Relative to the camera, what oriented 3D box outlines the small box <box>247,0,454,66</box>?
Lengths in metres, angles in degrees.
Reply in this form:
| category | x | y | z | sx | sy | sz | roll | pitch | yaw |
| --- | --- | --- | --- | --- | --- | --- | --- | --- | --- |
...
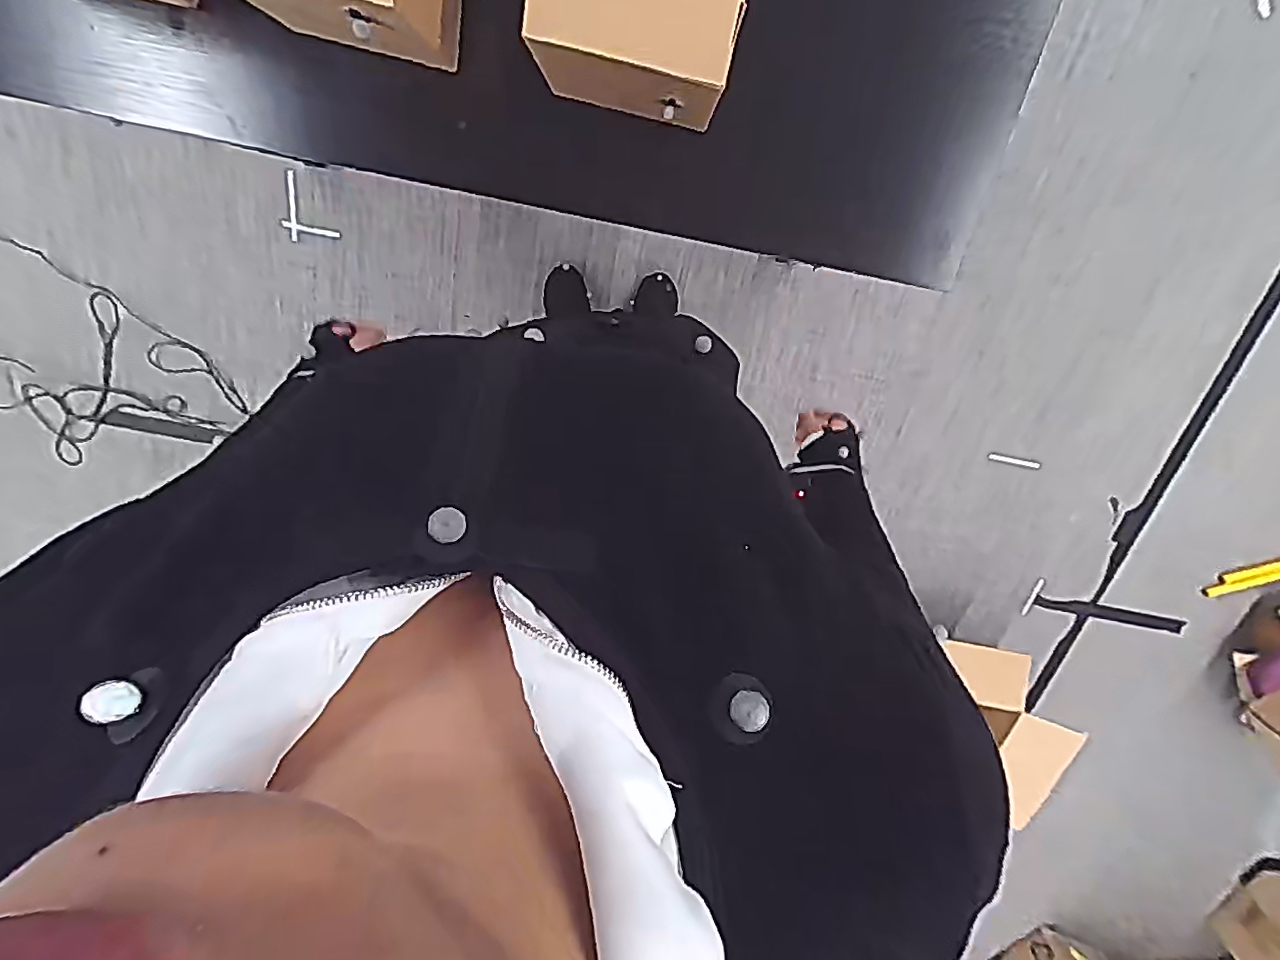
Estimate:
| category | x | y | z | sx | sy | sz | roll | pitch | yaw |
| --- | --- | --- | --- | --- | --- | --- | --- | --- | --- |
| small box | -0.267 | -0.501 | 0.477 | 0.179 | 0.176 | 0.168 | 12 | 111 | -4 |

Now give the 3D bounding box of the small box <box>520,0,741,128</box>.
| category | x | y | z | sx | sy | sz | roll | pitch | yaw |
| --- | --- | --- | --- | --- | --- | --- | --- | --- | --- |
| small box | 0.001 | -0.450 | 0.500 | 0.179 | 0.176 | 0.168 | 11 | 111 | -3 |
